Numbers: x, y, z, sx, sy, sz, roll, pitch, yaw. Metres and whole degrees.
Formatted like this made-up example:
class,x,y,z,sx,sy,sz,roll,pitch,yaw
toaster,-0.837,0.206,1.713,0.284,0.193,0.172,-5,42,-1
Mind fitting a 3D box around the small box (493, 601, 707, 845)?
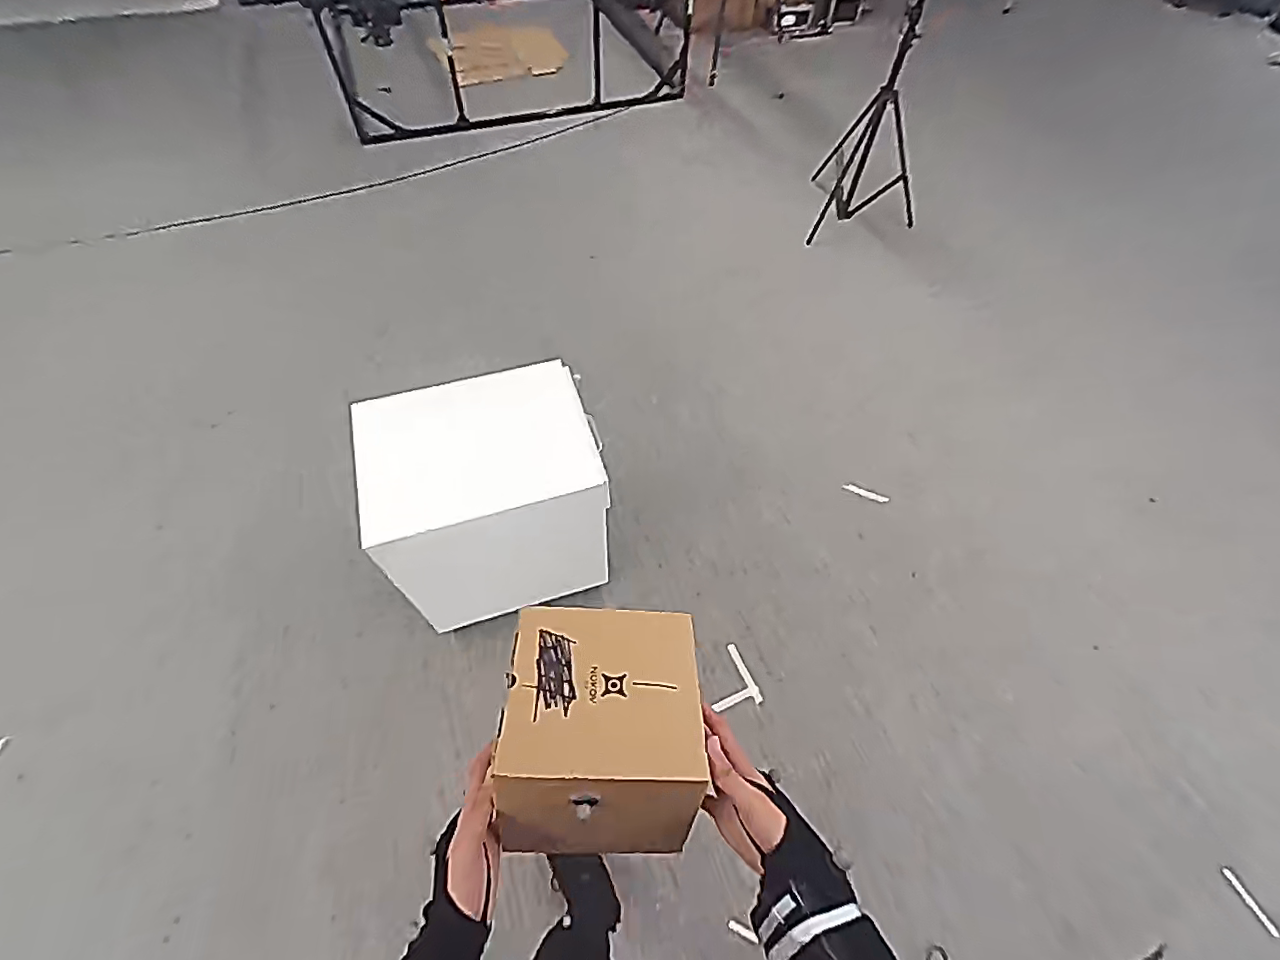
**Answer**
class,x,y,z,sx,sy,sz,roll,pitch,yaw
small box,-0.039,0.242,0.541,0.179,0.176,0.168,4,38,-4
